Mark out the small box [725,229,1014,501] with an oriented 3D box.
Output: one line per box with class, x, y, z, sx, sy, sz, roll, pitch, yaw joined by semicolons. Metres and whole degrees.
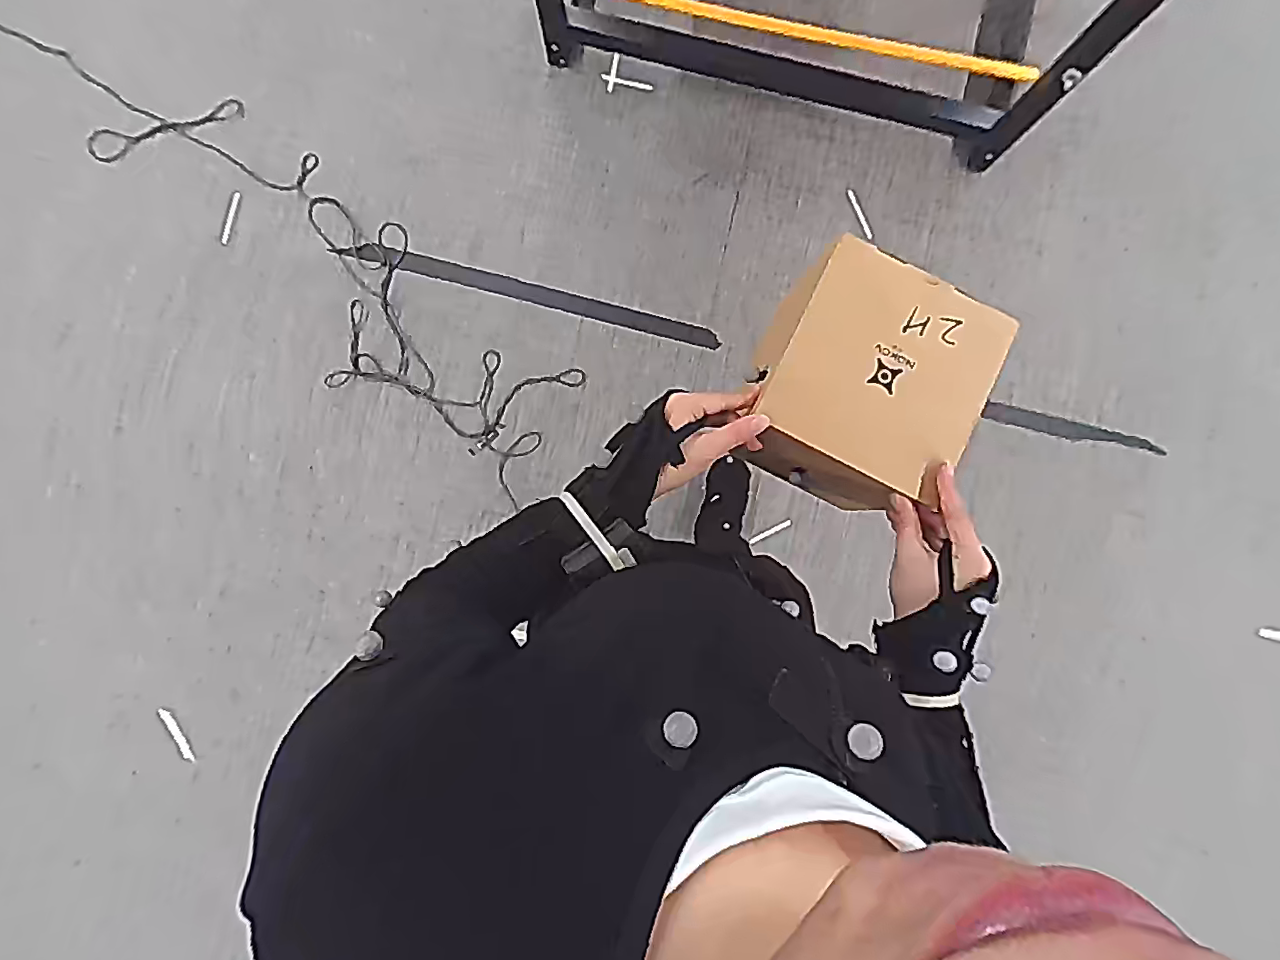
small box;0.196;-0.089;0.518;0.168;0.176;0.179;27;85;-2
